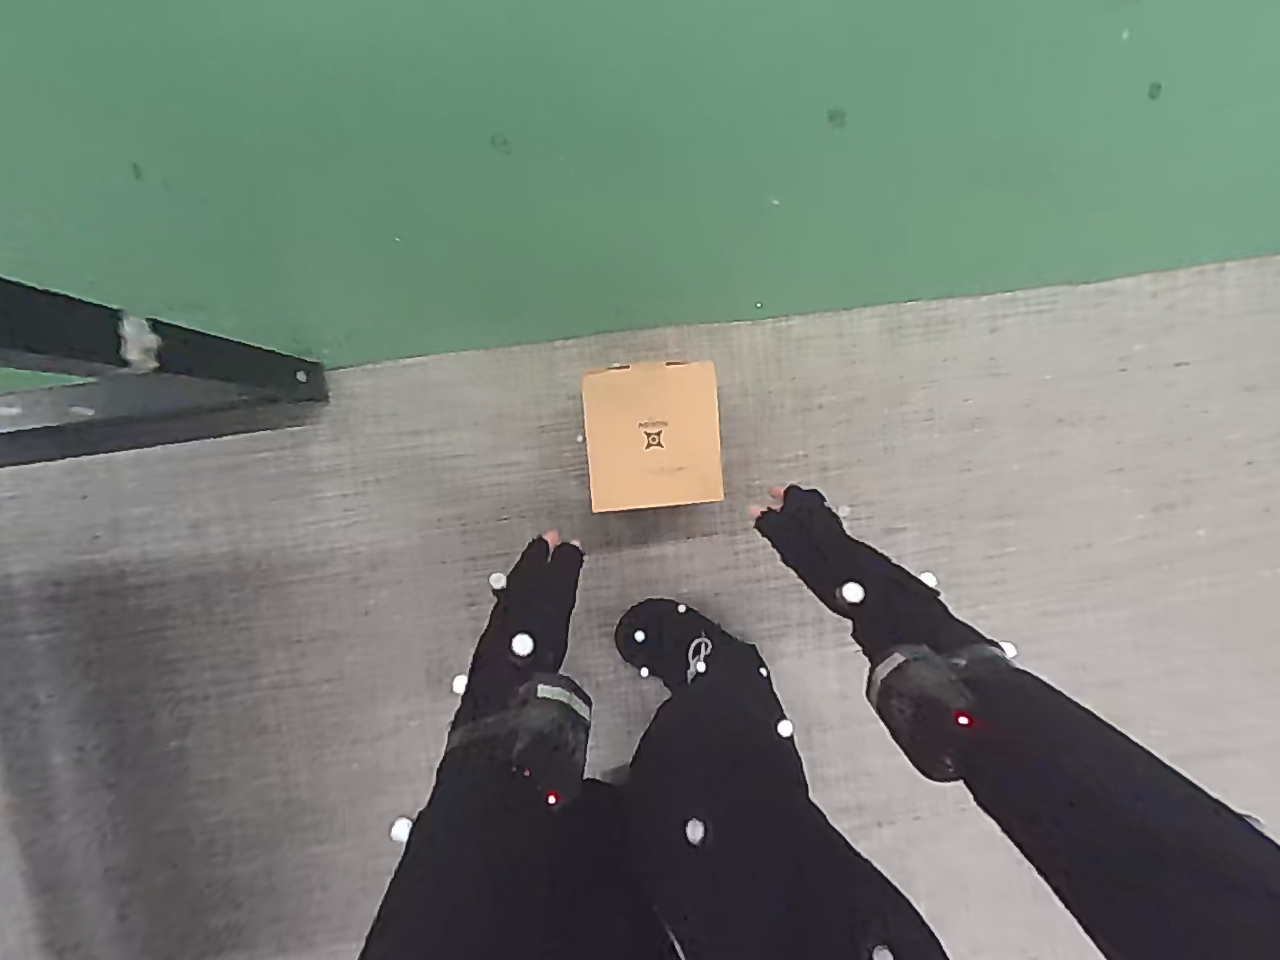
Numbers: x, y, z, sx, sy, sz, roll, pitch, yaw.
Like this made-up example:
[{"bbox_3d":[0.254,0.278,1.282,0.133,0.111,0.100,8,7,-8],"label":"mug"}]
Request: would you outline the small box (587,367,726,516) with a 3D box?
[{"bbox_3d":[0.016,-0.051,0.738,0.168,0.176,0.179,-4,94,-2],"label":"small box"}]
